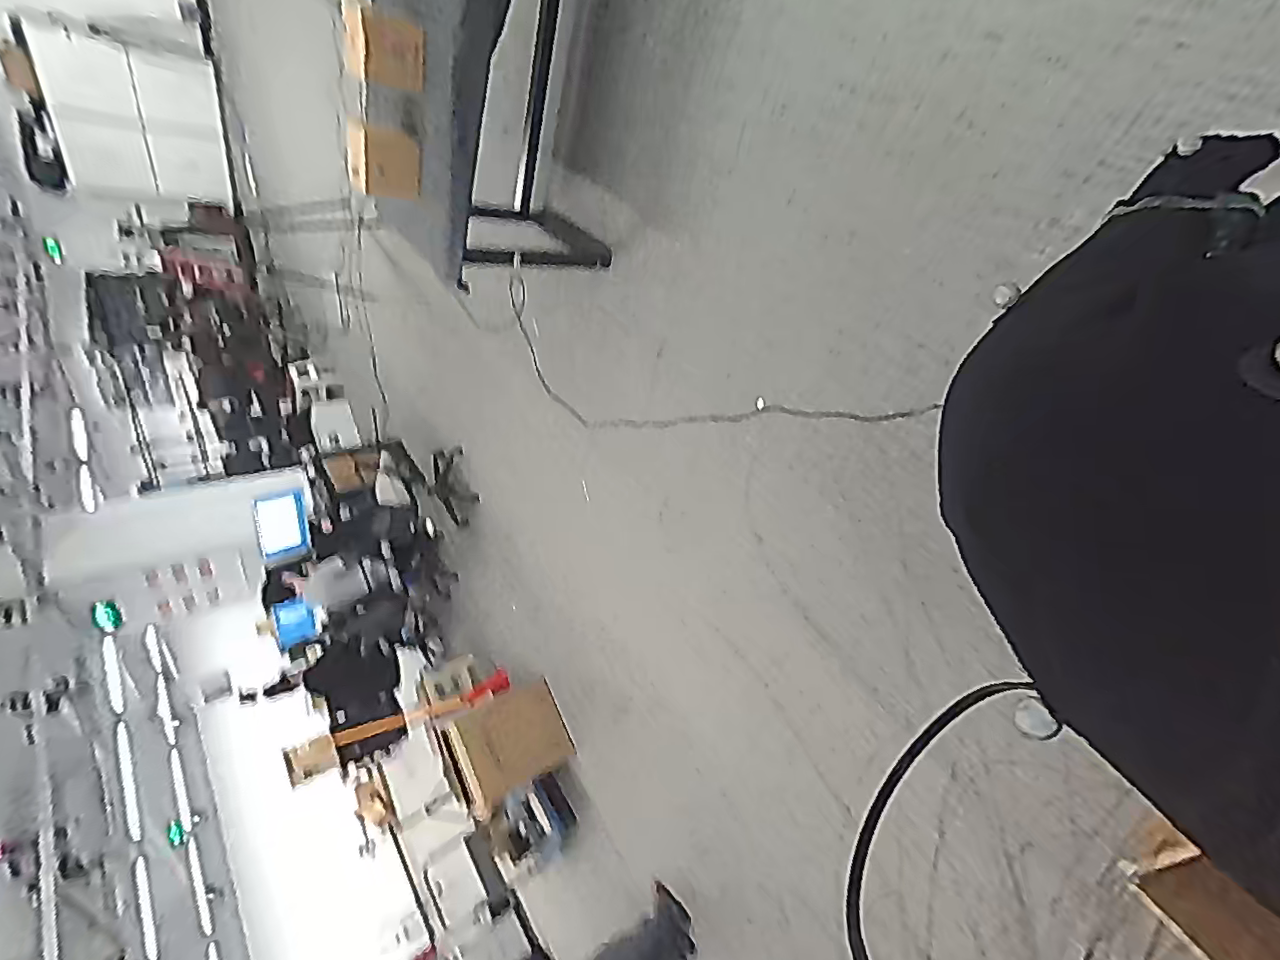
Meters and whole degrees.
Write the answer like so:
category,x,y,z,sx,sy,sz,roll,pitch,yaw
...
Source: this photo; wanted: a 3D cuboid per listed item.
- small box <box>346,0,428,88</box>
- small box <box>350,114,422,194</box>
category,x,y,z,sx,sy,sz,roll,pitch,yaw
small box,-0.728,-1.261,1.562,0.179,0.176,0.168,46,133,30
small box,-0.813,-1.041,1.736,0.168,0.176,0.179,44,131,32
